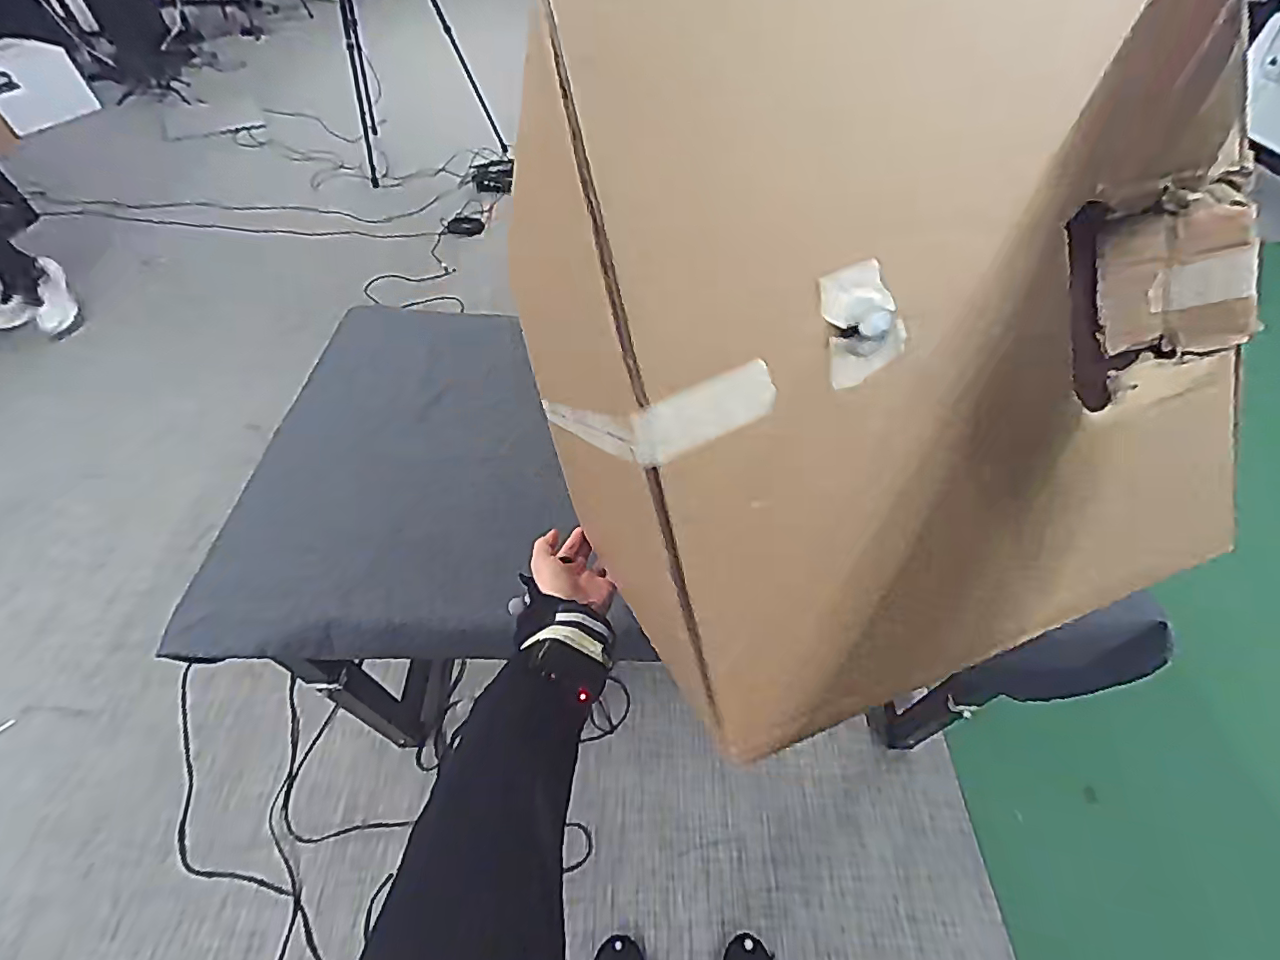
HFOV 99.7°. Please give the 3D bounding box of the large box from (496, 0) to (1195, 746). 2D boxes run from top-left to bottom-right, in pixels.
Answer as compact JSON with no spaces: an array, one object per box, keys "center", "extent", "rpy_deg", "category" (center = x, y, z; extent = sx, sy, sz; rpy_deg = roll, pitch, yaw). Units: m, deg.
[{"center":[0.090,-0.092,0.429],"extent":[0.320,0.320,0.408],"rpy_deg":[-18,15,-14],"category":"large box"}]
